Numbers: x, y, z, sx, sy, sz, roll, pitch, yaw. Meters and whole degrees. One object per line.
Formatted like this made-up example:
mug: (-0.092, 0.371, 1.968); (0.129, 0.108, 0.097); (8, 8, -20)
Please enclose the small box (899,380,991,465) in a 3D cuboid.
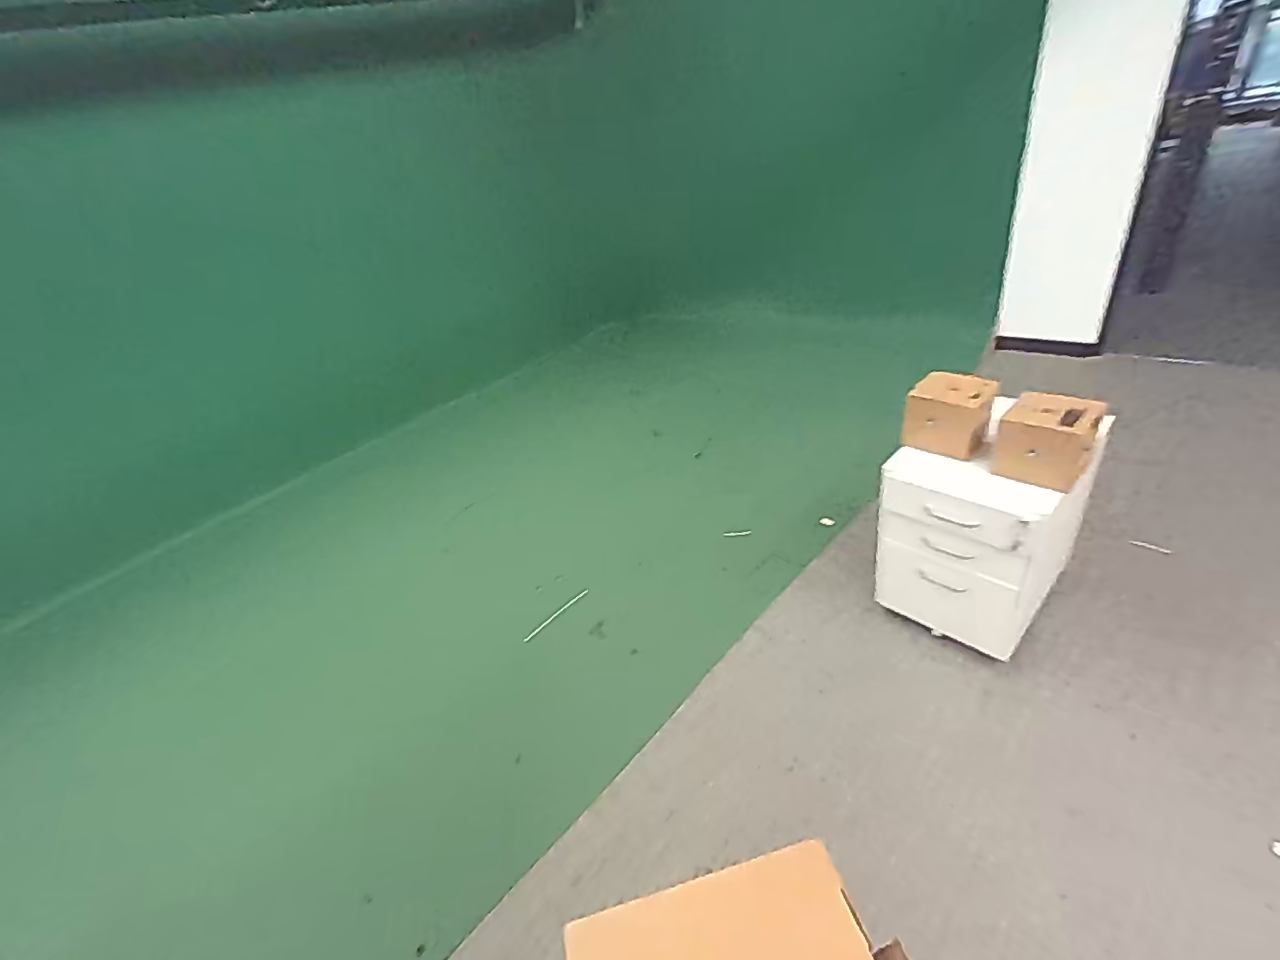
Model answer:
small box: (0.854, -0.163, 1.527); (0.168, 0.176, 0.179); (-35, 39, -30)
